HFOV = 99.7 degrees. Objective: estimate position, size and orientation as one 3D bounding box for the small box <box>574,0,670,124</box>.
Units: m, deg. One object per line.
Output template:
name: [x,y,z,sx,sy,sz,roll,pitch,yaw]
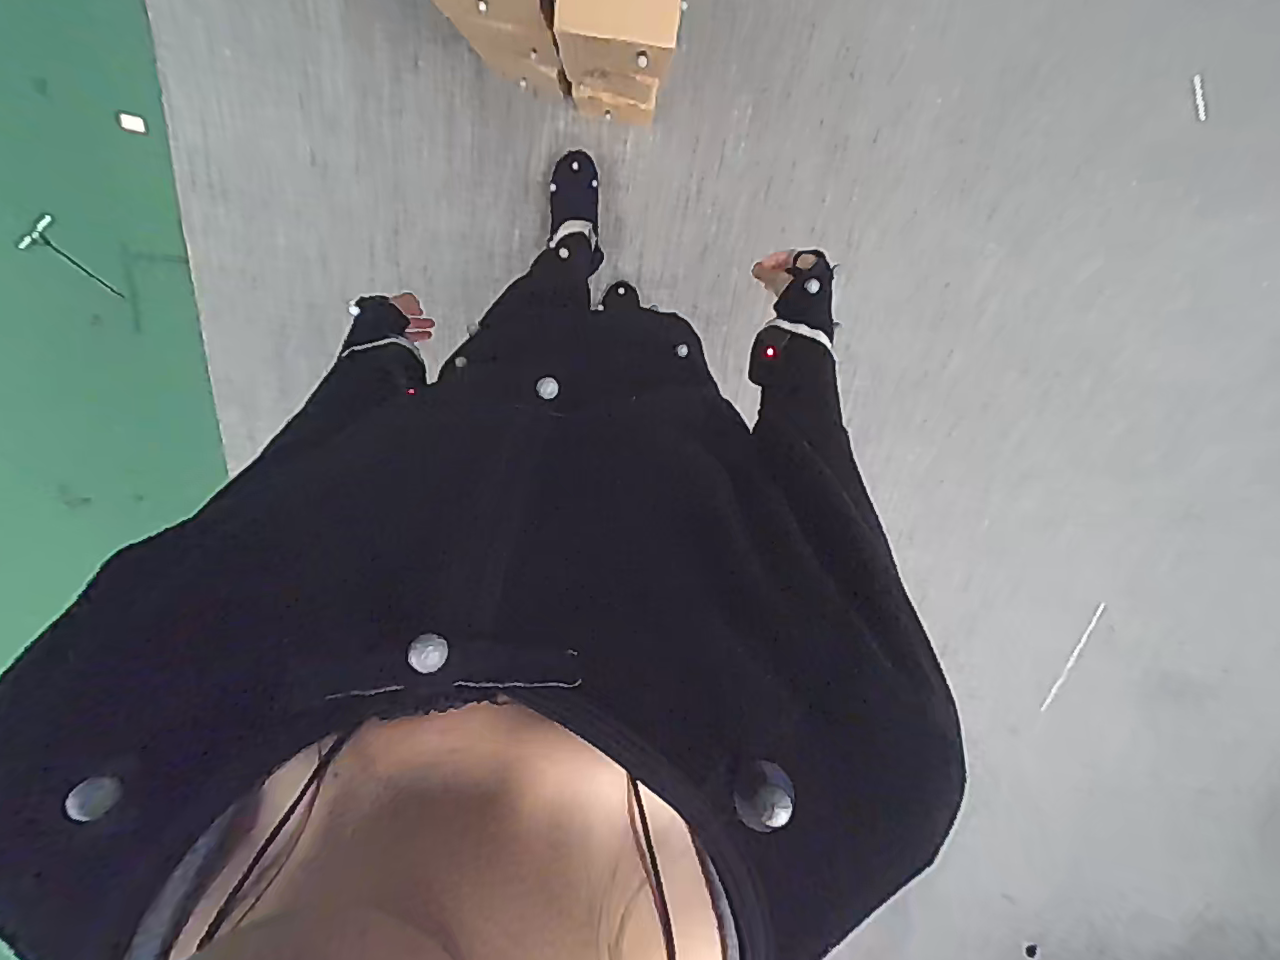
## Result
small box: [-0.039,-0.855,1.103,0.168,0.176,0.179,7,115,-4]
